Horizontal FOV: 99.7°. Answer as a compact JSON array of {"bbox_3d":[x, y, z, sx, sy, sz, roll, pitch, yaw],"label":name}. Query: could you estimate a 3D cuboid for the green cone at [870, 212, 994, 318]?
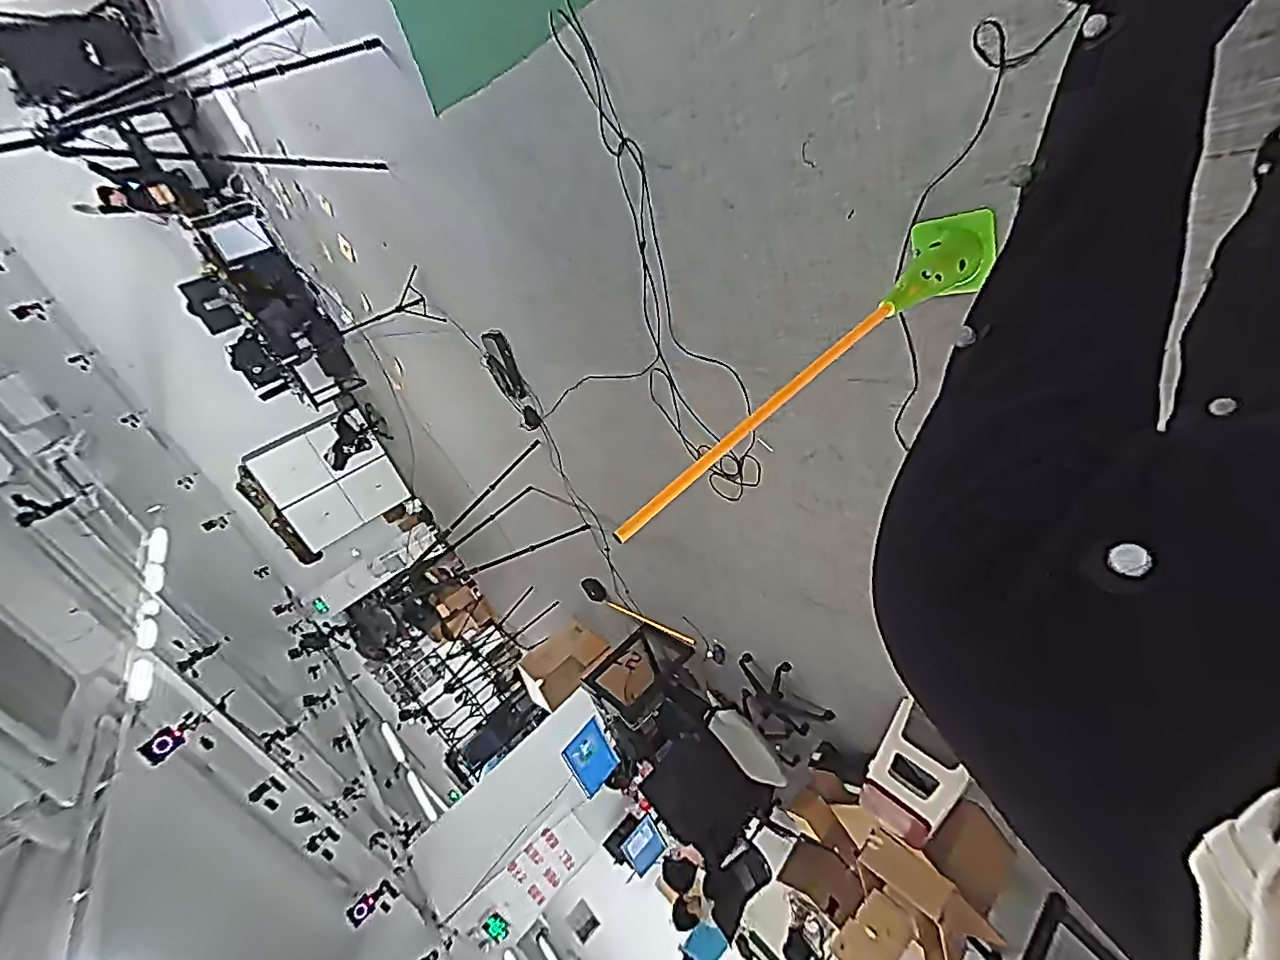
[{"bbox_3d":[0.691,-0.497,1.345,0.202,0.368,0.200,14,133,52],"label":"green cone"}]
